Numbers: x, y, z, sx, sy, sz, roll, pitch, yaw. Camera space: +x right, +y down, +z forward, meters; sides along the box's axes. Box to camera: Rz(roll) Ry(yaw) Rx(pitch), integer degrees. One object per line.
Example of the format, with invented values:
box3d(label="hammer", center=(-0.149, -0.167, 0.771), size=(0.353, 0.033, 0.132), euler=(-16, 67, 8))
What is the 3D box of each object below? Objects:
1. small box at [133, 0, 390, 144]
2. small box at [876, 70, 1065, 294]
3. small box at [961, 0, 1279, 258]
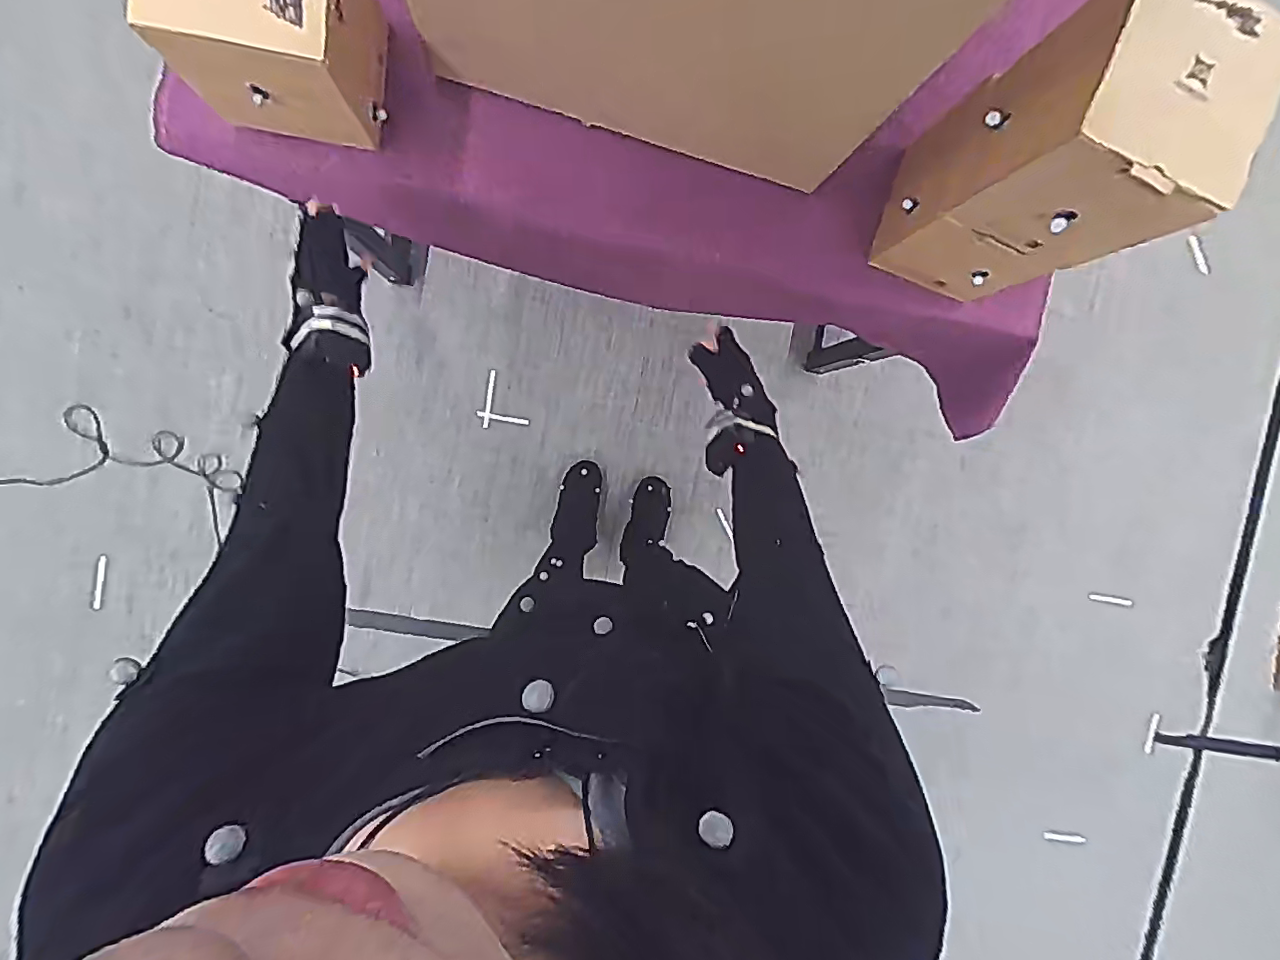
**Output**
box3d(label="small box", center=(-0.391, -0.503, 0.591), size=(0.179, 0.176, 0.168), euler=(5, 92, -8))
box3d(label="small box", center=(0.440, -0.366, 0.706), size=(0.168, 0.176, 0.179), euler=(17, 91, -8))
box3d(label="small box", center=(0.468, -0.355, 0.544), size=(0.168, 0.176, 0.179), euler=(22, 92, -9))
